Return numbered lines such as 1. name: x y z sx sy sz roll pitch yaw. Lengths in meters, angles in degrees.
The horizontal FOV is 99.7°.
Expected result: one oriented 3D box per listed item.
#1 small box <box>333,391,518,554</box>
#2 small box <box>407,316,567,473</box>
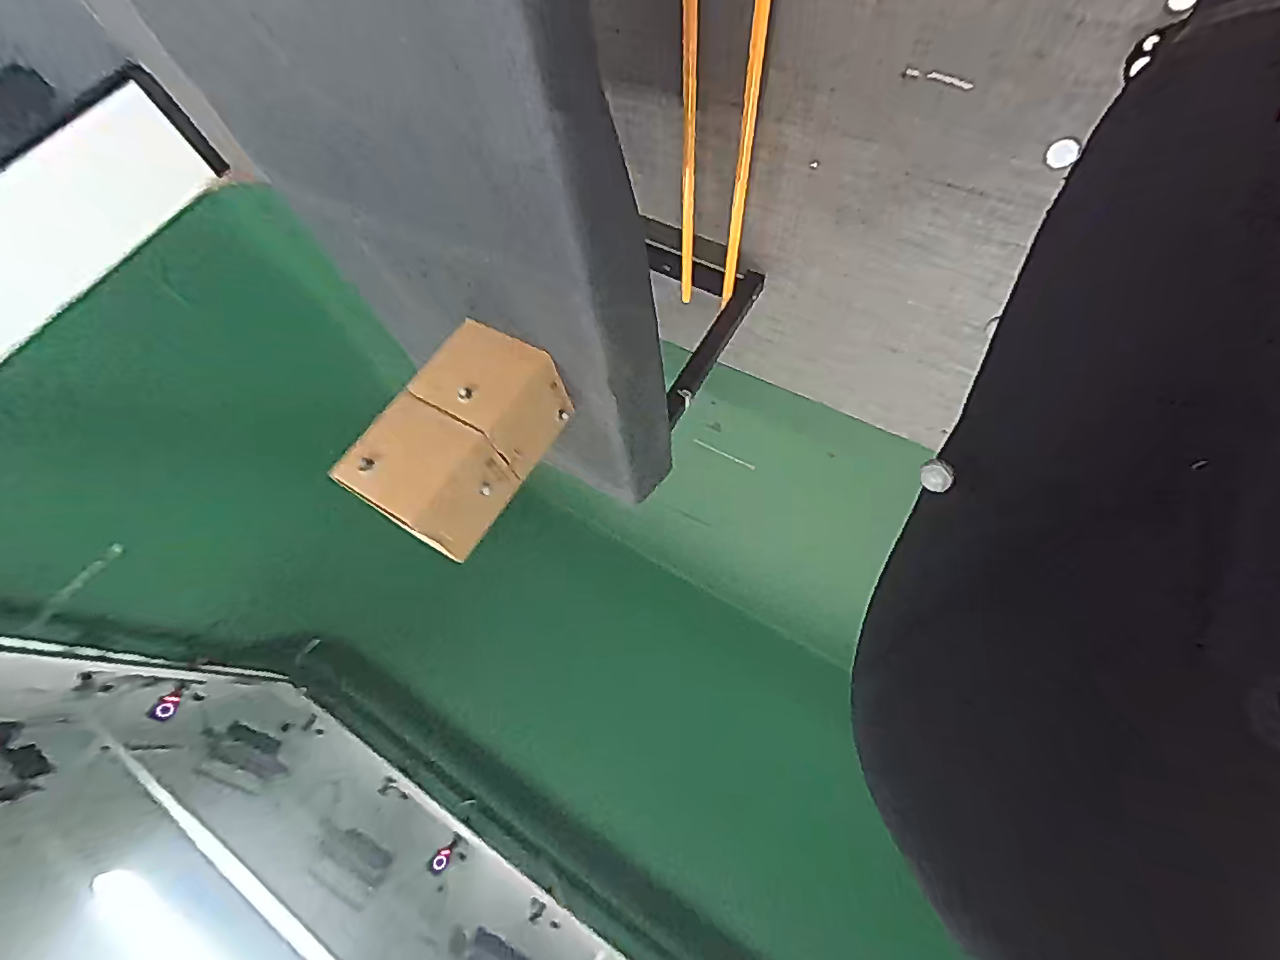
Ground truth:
1. small box: -0.329 -0.016 0.861 0.179 0.176 0.168 26 161 21
2. small box: -0.241 -0.146 0.912 0.179 0.176 0.168 27 161 20
